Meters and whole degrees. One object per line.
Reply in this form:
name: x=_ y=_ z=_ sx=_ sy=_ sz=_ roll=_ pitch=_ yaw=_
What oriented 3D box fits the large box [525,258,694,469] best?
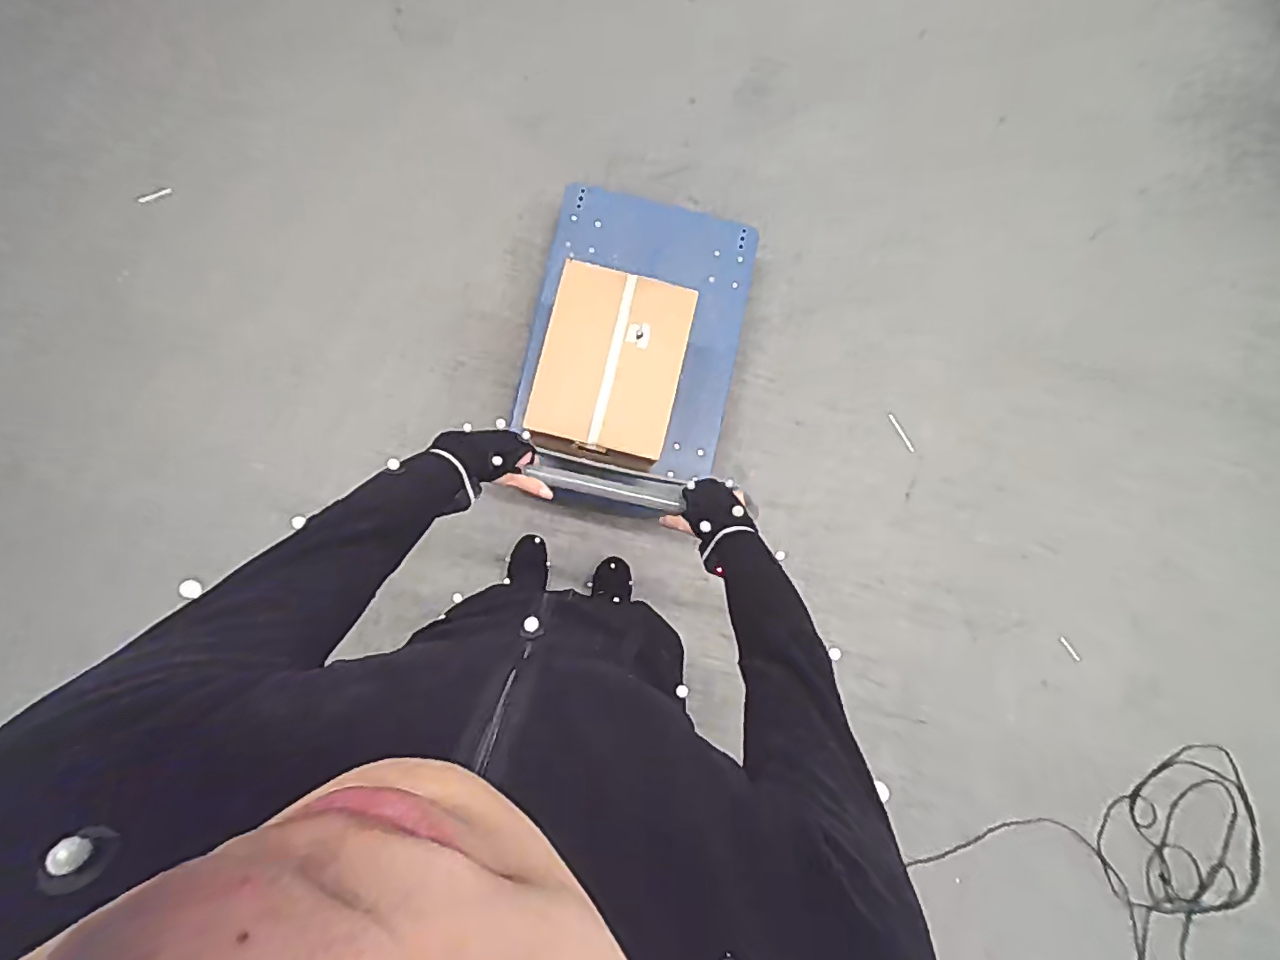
large box: x=-0.075 y=-0.264 z=1.354 sx=0.320 sy=0.320 sz=0.408 roll=13 pitch=83 yaw=-4
